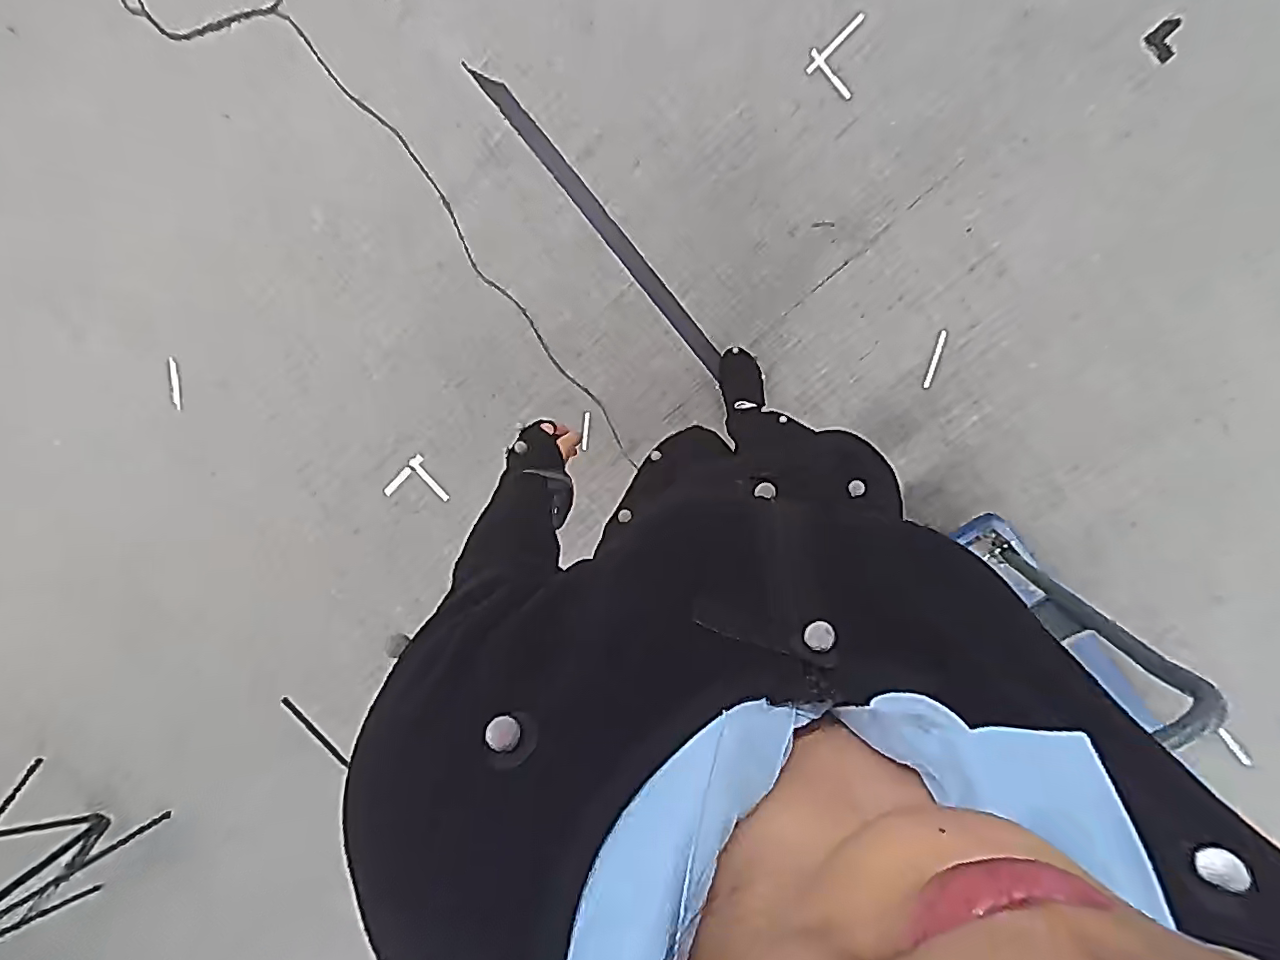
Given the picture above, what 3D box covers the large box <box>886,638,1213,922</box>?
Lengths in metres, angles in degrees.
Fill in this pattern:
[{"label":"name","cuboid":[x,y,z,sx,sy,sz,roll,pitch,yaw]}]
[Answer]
[{"label":"large box","cuboid":[0.832,0.627,1.174,0.408,0.320,0.320,-37,94,14]}]
